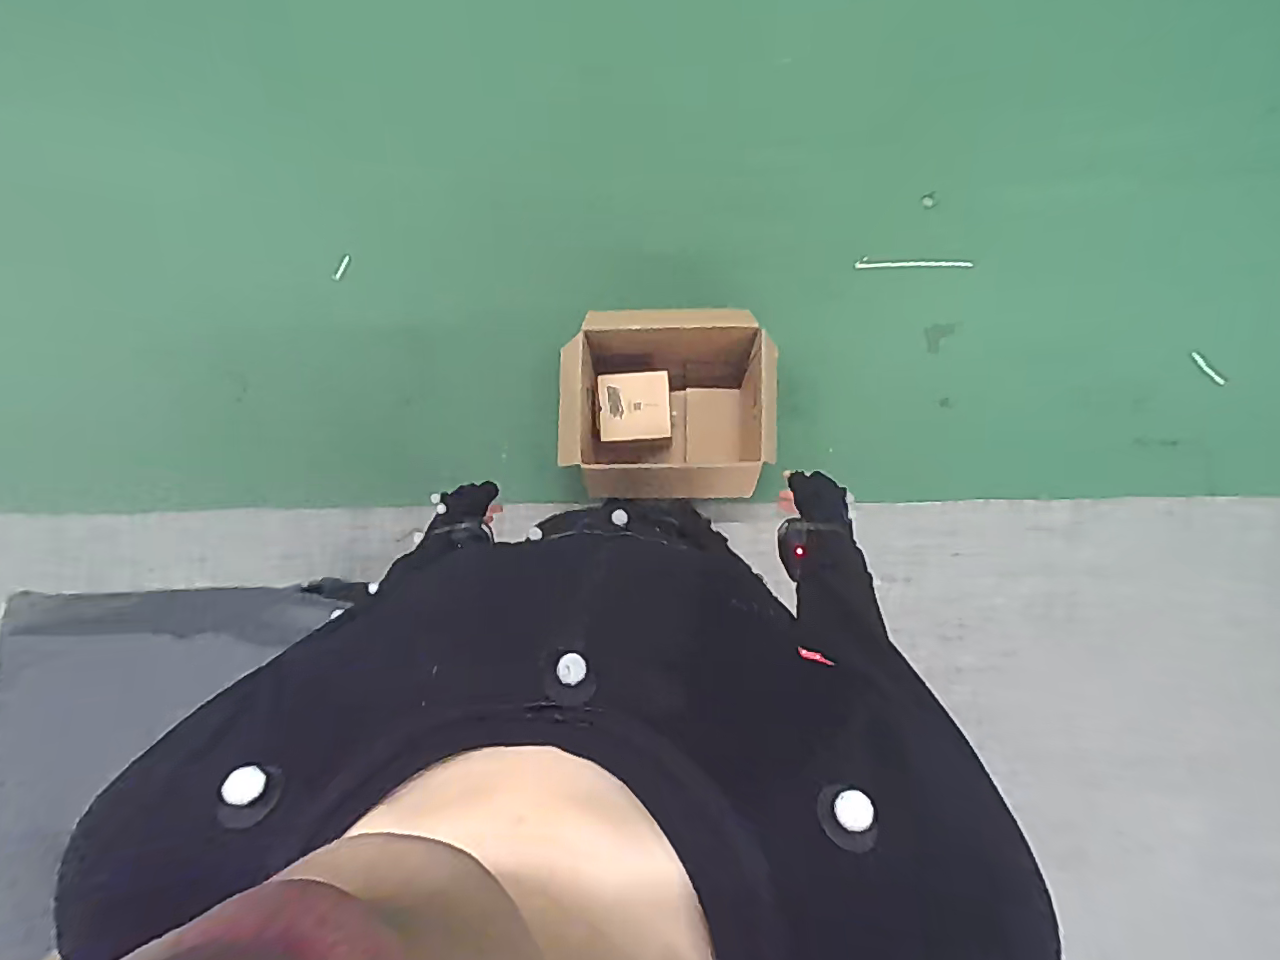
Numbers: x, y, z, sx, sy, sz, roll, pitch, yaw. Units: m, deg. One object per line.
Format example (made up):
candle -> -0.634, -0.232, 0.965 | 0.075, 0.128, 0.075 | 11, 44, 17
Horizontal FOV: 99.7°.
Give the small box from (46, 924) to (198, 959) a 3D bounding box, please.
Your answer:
small box -> -0.706, 0.710, 0.687 | 0.168, 0.176, 0.179 | -3, 89, 2
